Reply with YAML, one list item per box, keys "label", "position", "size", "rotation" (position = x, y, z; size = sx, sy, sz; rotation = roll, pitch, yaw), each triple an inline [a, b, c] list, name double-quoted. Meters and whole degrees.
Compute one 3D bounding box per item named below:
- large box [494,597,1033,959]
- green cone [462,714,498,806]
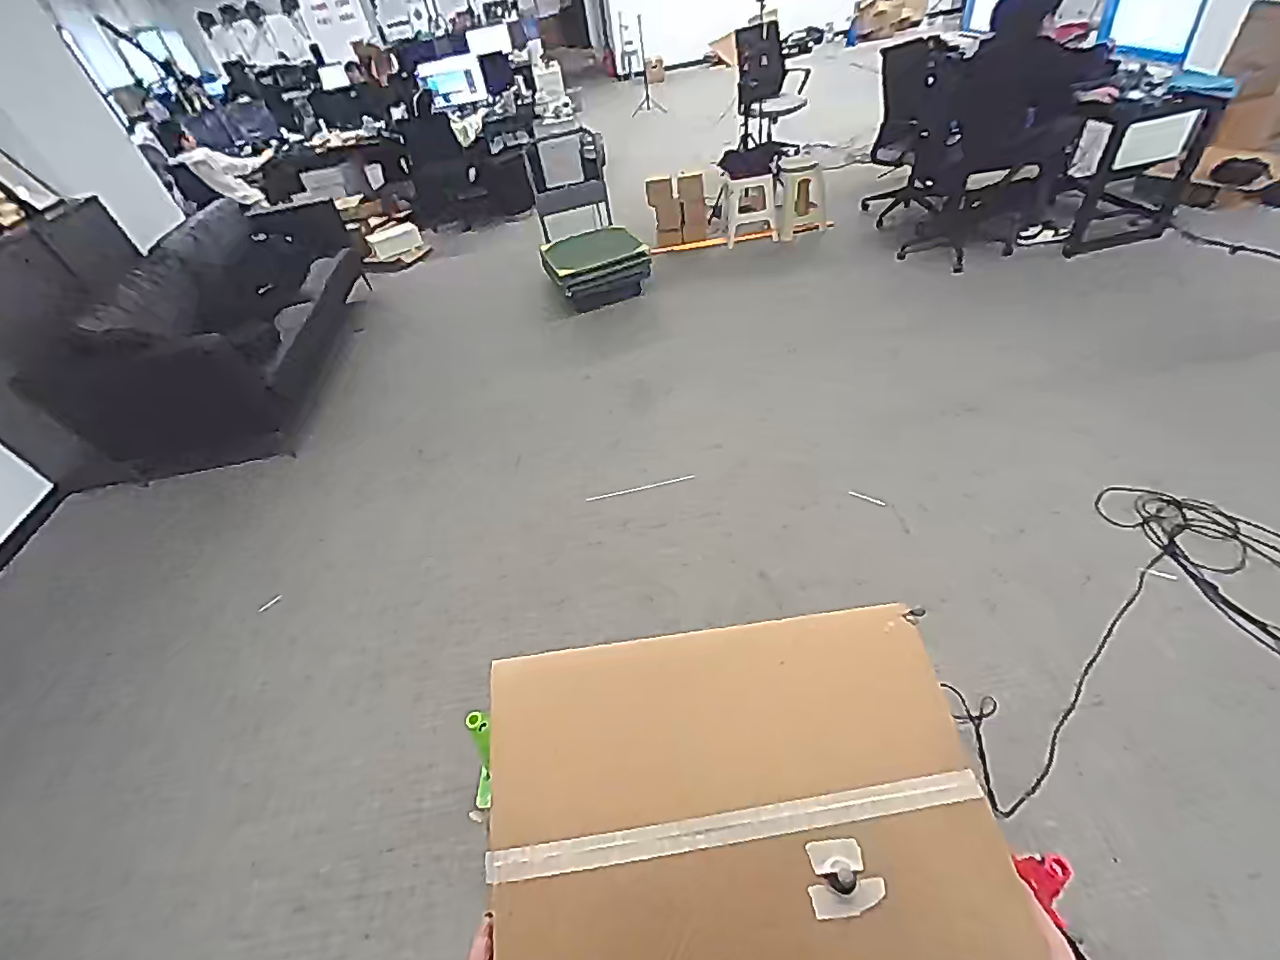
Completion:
- label: "large box"
  position: [0.078, 0.349, 0.584]
  size: [0.408, 0.320, 0.320]
  rotation: [-7, 62, -5]
- label: "green cone"
  position: [-0.397, 0.716, 1.457]
  size: [0.200, 0.368, 0.202]
  rotation: [-7, 45, 4]
